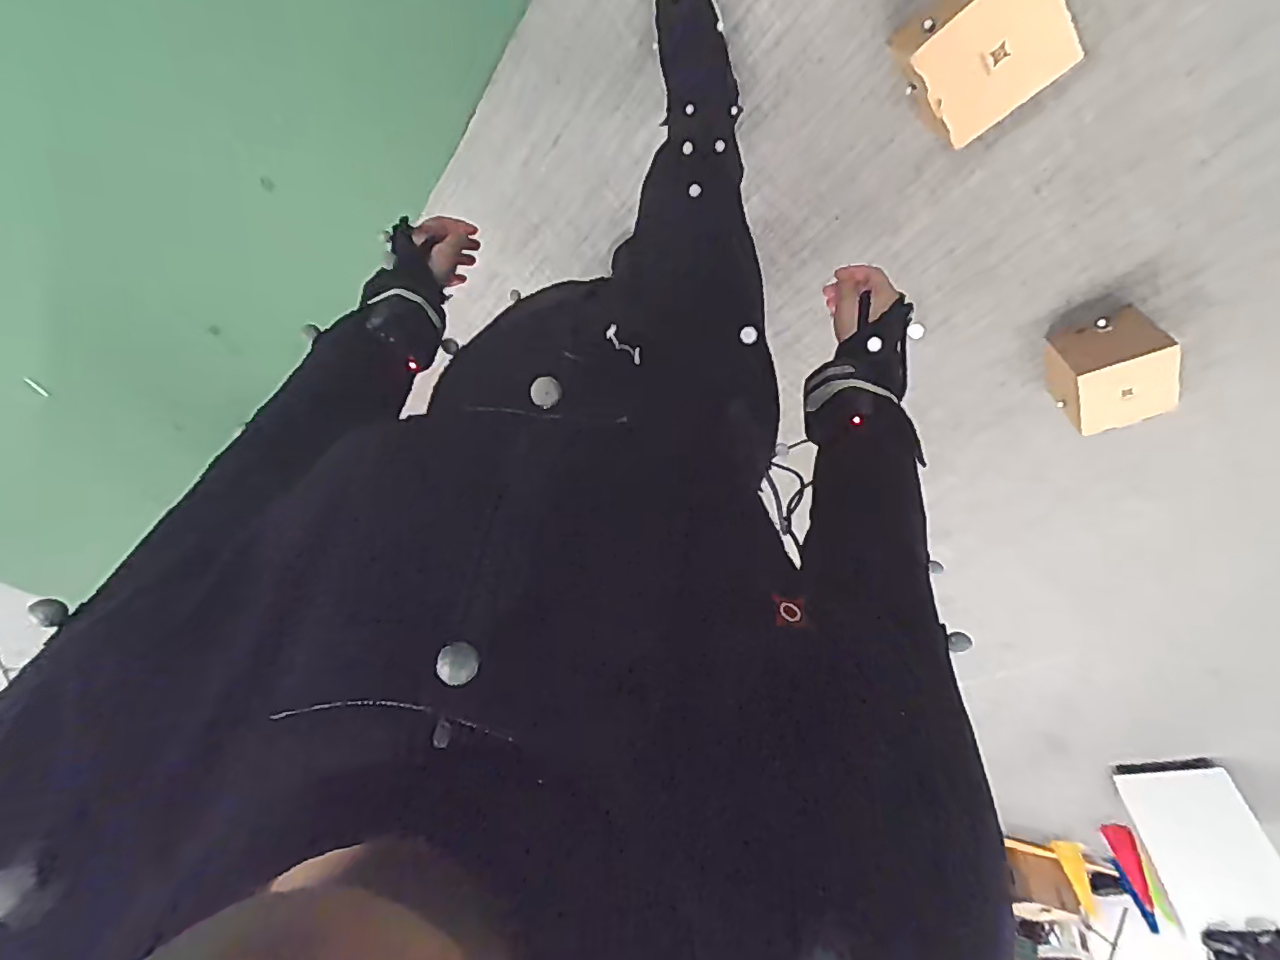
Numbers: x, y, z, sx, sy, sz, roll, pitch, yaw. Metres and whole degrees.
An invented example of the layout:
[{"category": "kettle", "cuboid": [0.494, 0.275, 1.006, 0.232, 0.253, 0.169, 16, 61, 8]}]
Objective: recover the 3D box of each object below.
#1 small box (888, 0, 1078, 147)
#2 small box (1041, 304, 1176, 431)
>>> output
[{"category": "small box", "cuboid": [0.513, -0.665, 0.830, 0.179, 0.176, 0.168, -31, 122, 34]}, {"category": "small box", "cuboid": [0.995, -0.241, 1.158, 0.168, 0.176, 0.179, -21, 126, 25]}]
